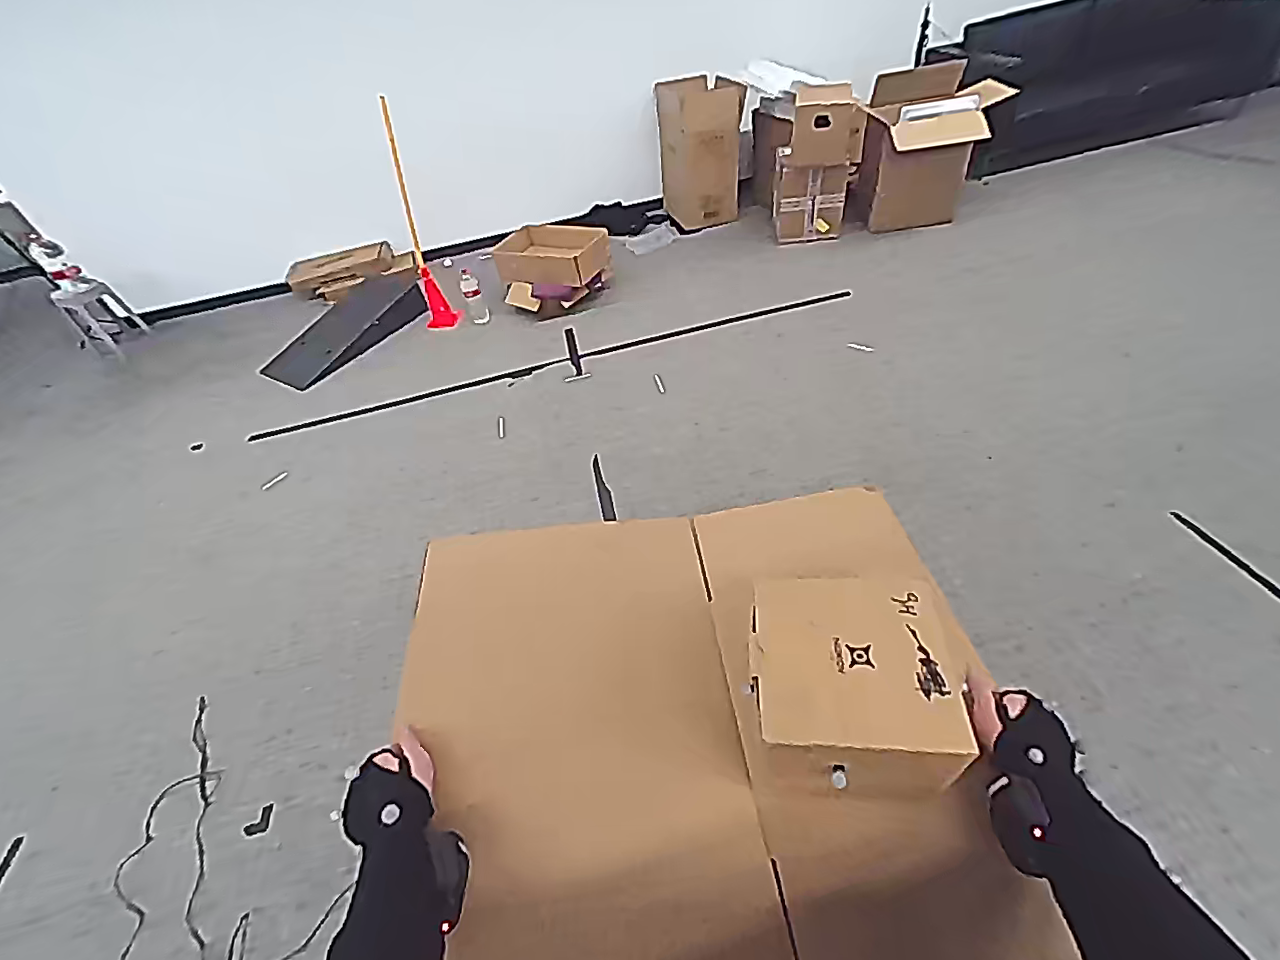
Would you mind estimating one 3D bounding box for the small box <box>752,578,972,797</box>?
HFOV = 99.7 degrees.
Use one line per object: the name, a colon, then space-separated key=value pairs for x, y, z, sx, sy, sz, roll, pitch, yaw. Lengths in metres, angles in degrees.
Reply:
small box: x=0.214 y=0.220 z=0.572 sx=0.179 sy=0.176 sz=0.168 roll=-2 pitch=47 yaw=11
